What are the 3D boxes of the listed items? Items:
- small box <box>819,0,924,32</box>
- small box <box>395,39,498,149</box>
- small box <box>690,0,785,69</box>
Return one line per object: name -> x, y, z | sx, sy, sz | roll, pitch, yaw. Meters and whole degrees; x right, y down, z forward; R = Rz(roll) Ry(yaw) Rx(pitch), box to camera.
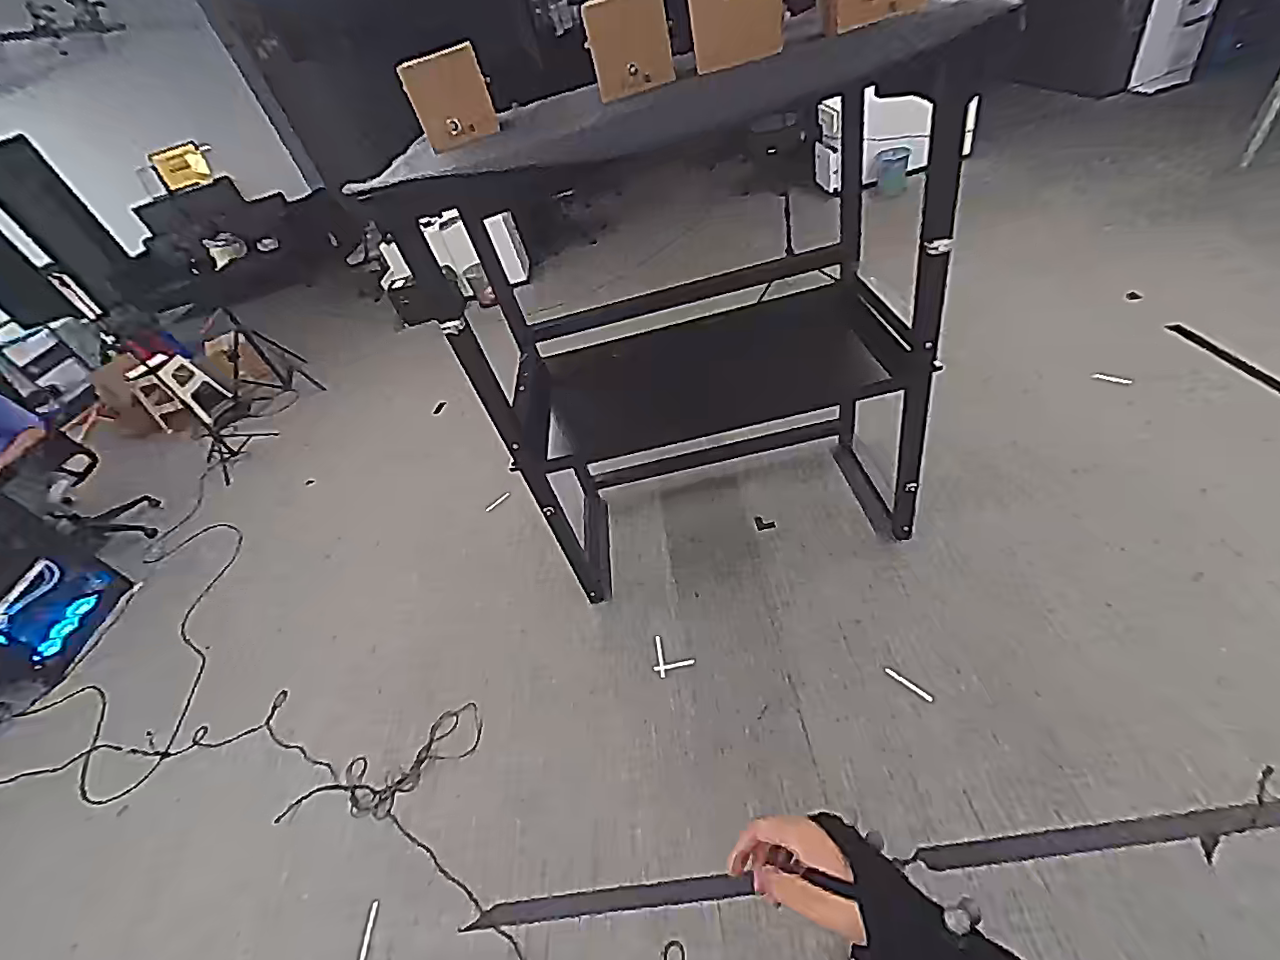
small box -> 0.441, -0.990, 1.038 | 0.168, 0.176, 0.179 | -10, 43, 11
small box -> -0.439, -0.892, 1.253 | 0.168, 0.176, 0.179 | -20, 42, 0
small box -> 0.200, -0.971, 1.105 | 0.179, 0.176, 0.168 | -1, 44, 18
